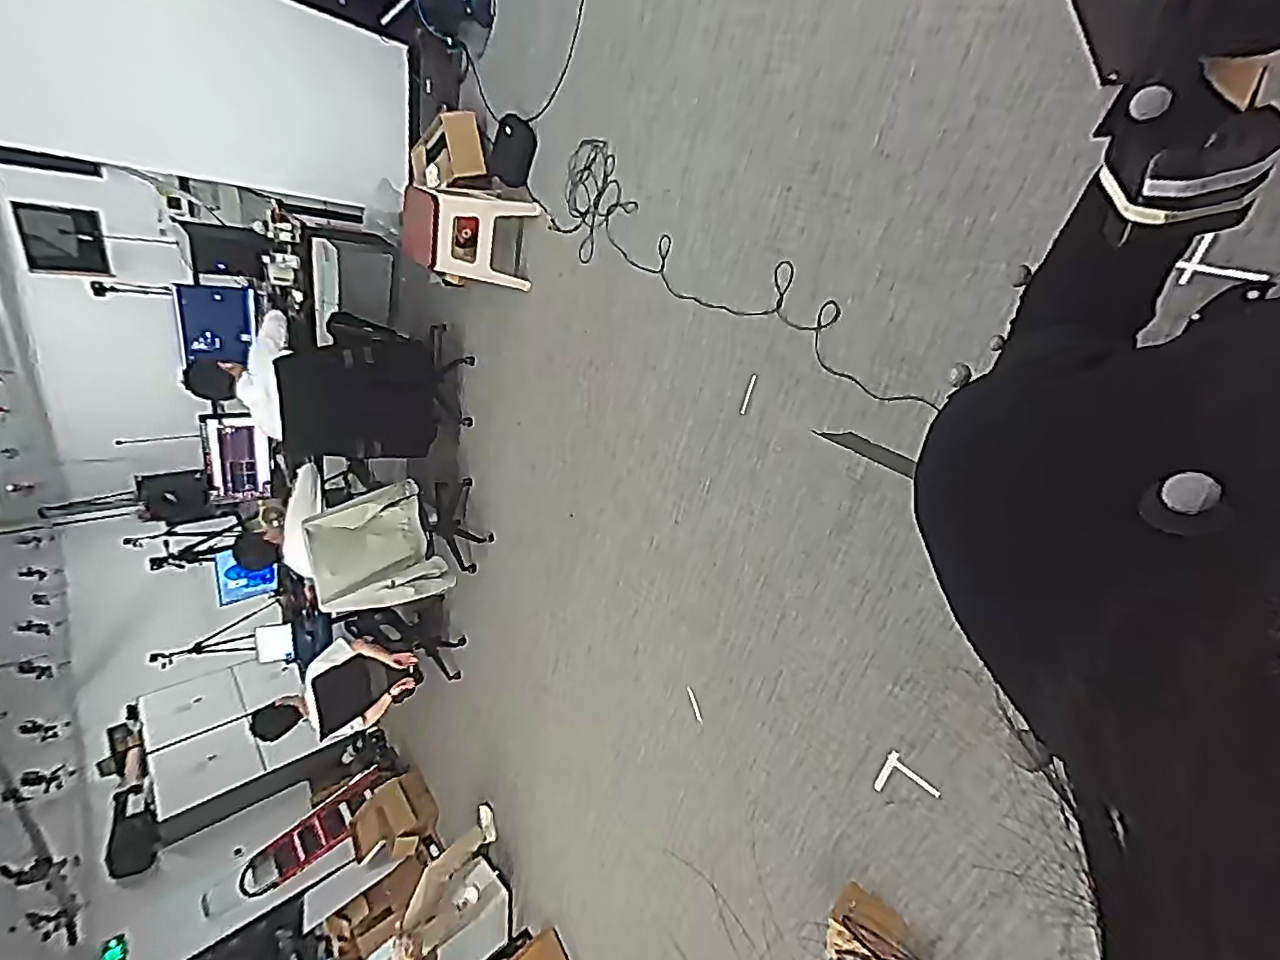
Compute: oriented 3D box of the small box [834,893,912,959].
[{"bbox_3d":[0.750,1.490,1.744,0.179,0.176,0.168,11,108,44],"label":"small box"}]
